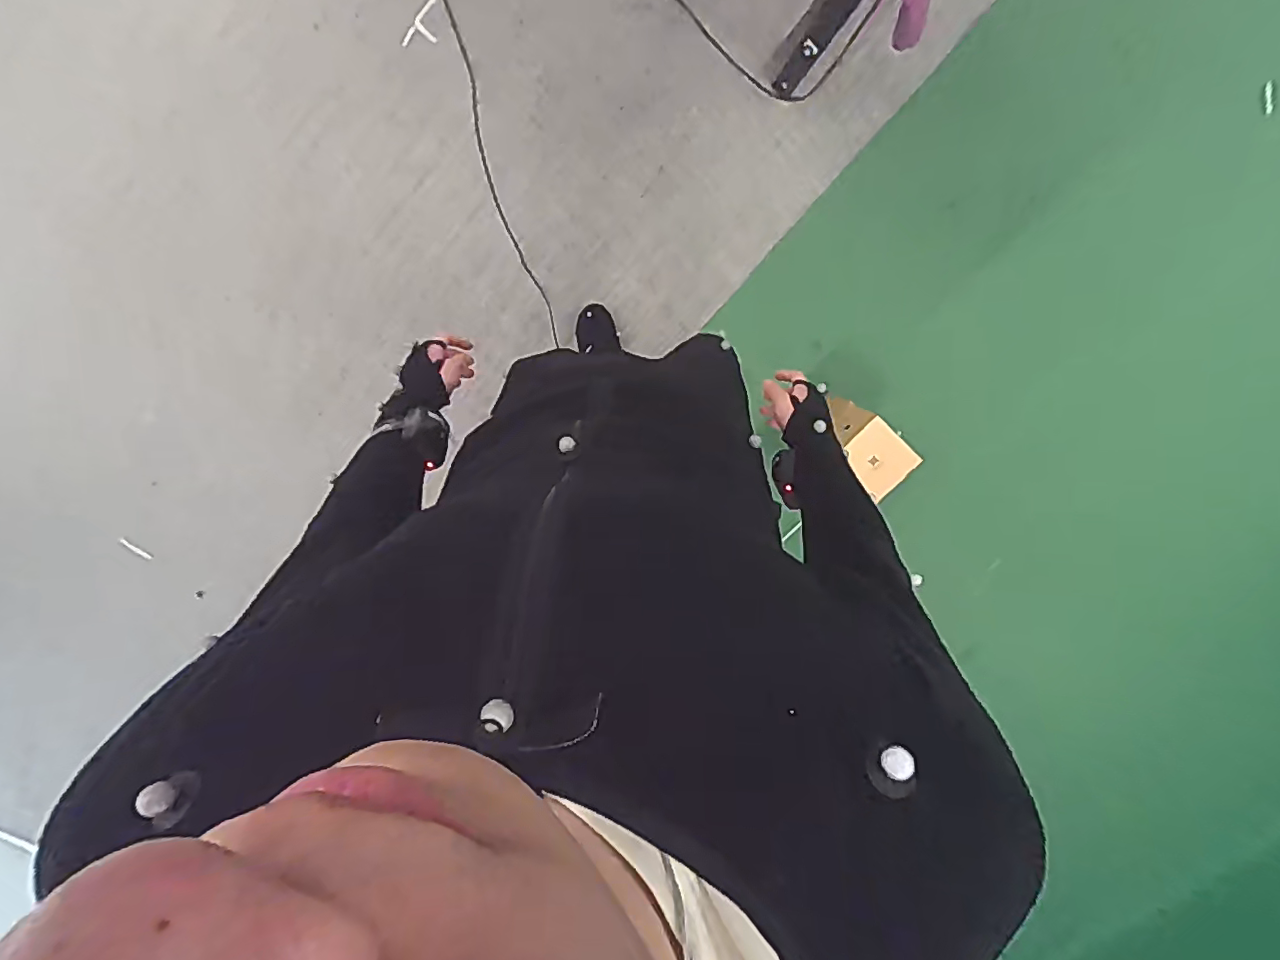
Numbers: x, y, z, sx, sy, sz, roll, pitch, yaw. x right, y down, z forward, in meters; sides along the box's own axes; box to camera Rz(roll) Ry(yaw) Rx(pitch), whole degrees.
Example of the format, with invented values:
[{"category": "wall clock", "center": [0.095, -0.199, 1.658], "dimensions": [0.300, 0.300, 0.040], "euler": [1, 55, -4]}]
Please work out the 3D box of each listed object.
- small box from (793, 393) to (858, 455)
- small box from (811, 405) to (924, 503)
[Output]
[{"category": "small box", "center": [0.572, -0.130, 1.545], "dimensions": [0.179, 0.176, 0.168], "euler": [40, 103, -12]}, {"category": "small box", "center": [0.574, -0.076, 1.392], "dimensions": [0.179, 0.176, 0.168], "euler": [39, 103, -14]}]
